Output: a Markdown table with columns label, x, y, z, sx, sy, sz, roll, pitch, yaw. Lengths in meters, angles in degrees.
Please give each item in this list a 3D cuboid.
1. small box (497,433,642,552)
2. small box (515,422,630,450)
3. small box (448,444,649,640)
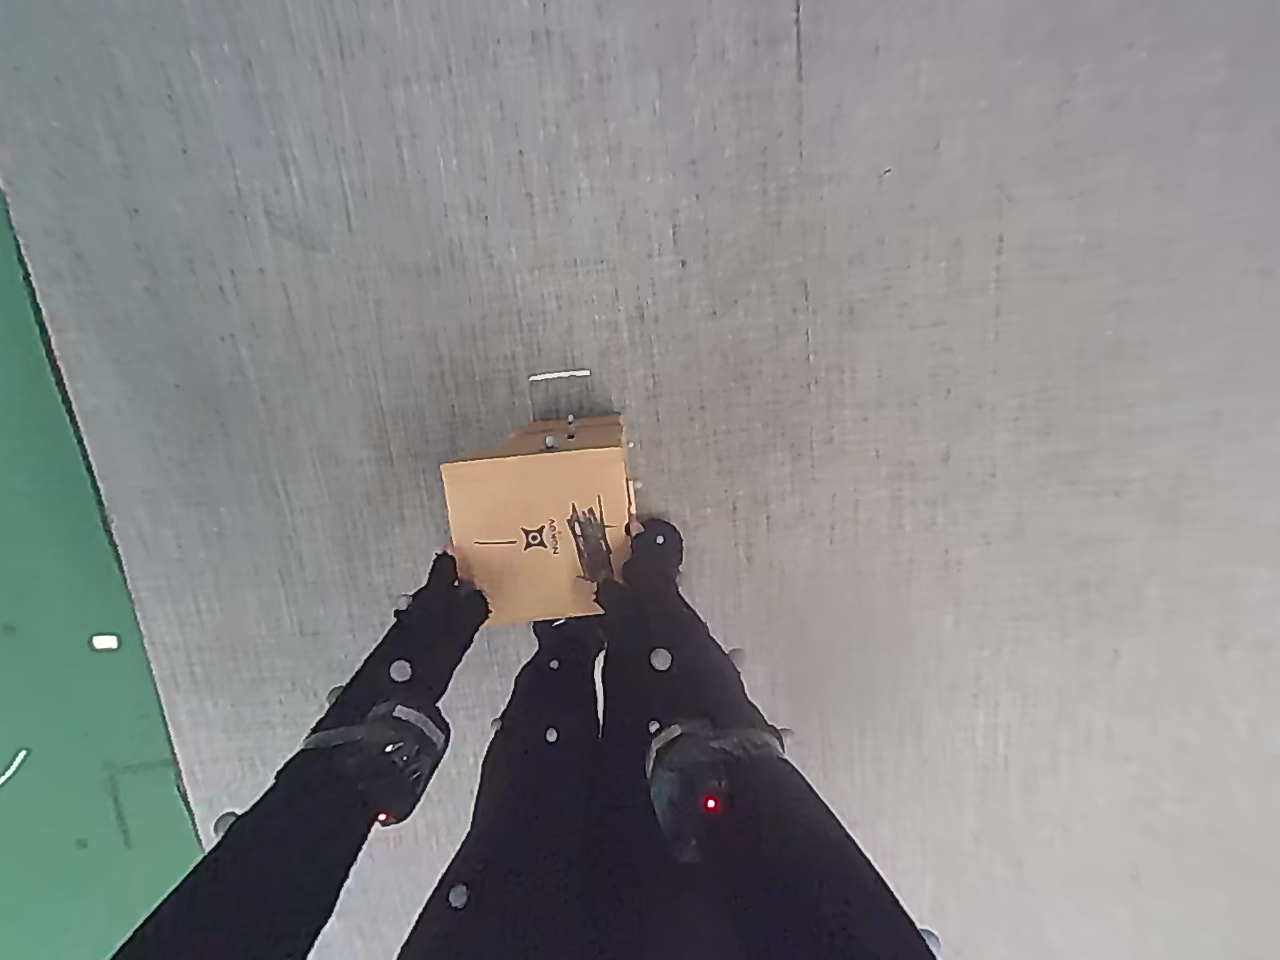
| label | x | y | z | sx | sy | sz | roll | pitch | yaw |
| --- | --- | --- | --- | --- | --- | --- | --- | --- | --- |
| small box | -0.094 | 0.028 | 0.775 | 0.179 | 0.176 | 0.168 | -6 | 101 | 0 |
| small box | -0.102 | -0.006 | 0.935 | 0.179 | 0.176 | 0.168 | -6 | 100 | 2 |
| small box | -0.093 | 0.056 | 0.608 | 0.179 | 0.176 | 0.168 | -9 | 99 | -2 |
